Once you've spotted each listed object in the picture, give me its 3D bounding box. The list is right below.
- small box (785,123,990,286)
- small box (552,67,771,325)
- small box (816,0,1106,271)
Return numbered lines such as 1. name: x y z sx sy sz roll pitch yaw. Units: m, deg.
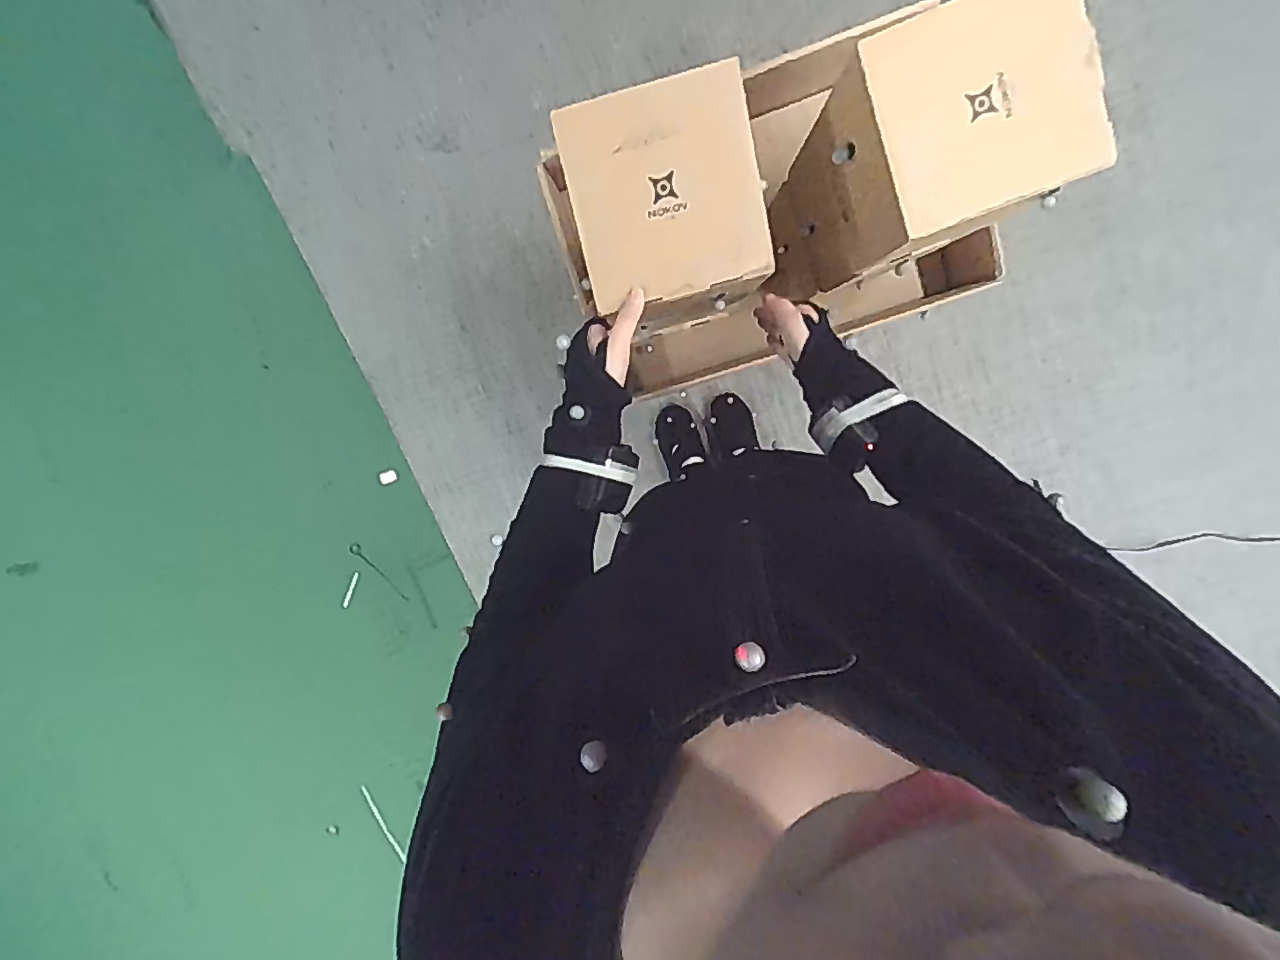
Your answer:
1. small box: 0.300 -0.360 0.687 0.168 0.176 0.179 -20 101 7
2. small box: 0.025 -0.263 0.552 0.168 0.176 0.179 -13 100 4
3. small box: 0.287 -0.324 0.528 0.179 0.176 0.168 -19 99 7
